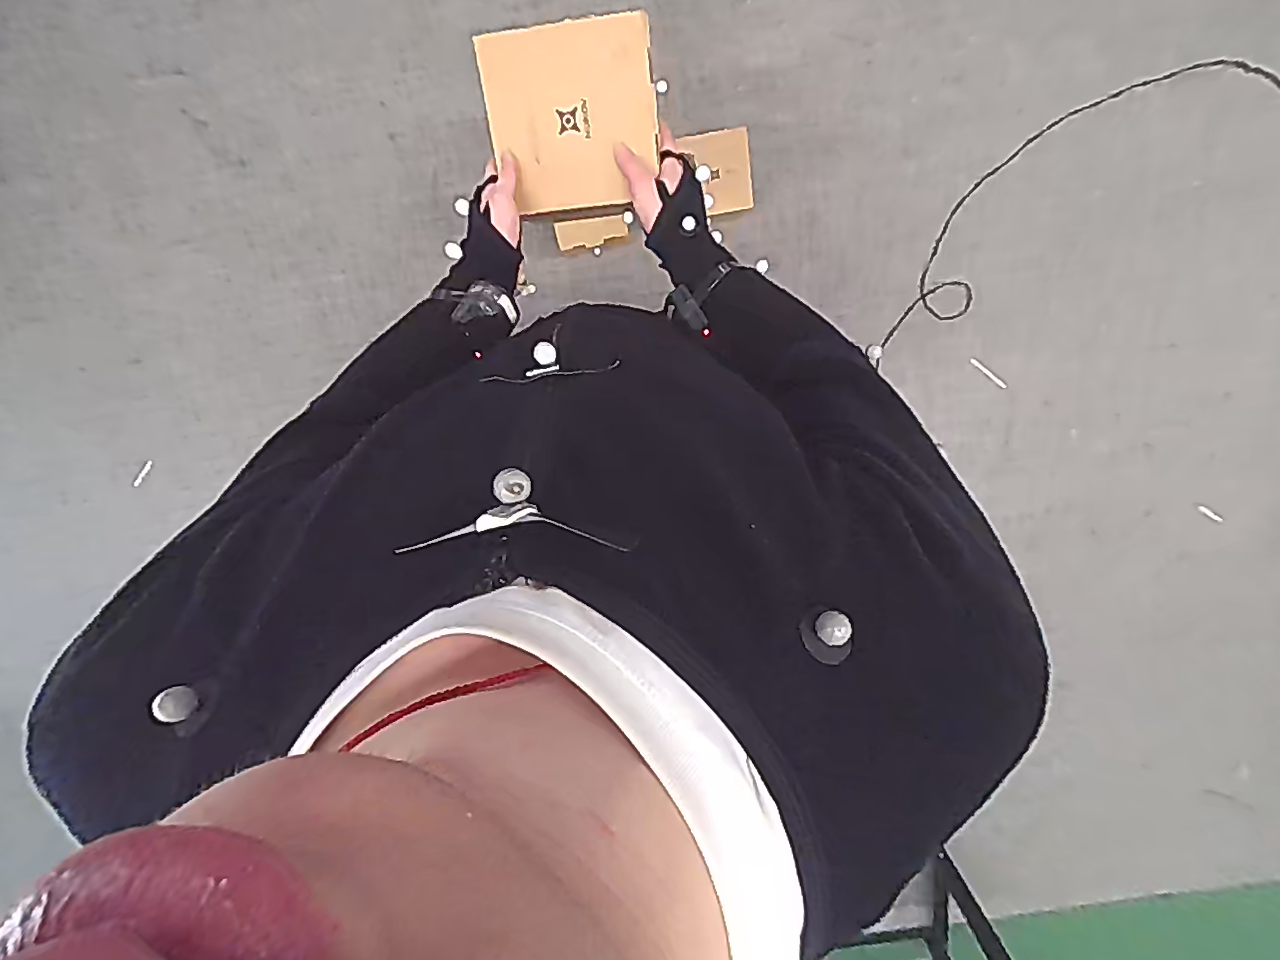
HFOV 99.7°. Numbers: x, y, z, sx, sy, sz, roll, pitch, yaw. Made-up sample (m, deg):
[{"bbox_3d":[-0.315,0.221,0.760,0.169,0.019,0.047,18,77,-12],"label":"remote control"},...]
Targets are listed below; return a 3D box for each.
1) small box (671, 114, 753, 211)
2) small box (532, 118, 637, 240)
[{"bbox_3d":[0.164,-0.735,1.268,0.179,0.176,0.168,-4,111,2],"label":"small box"},{"bbox_3d":[-0.121,-0.695,1.275,0.179,0.176,0.168,-40,102,14],"label":"small box"}]
